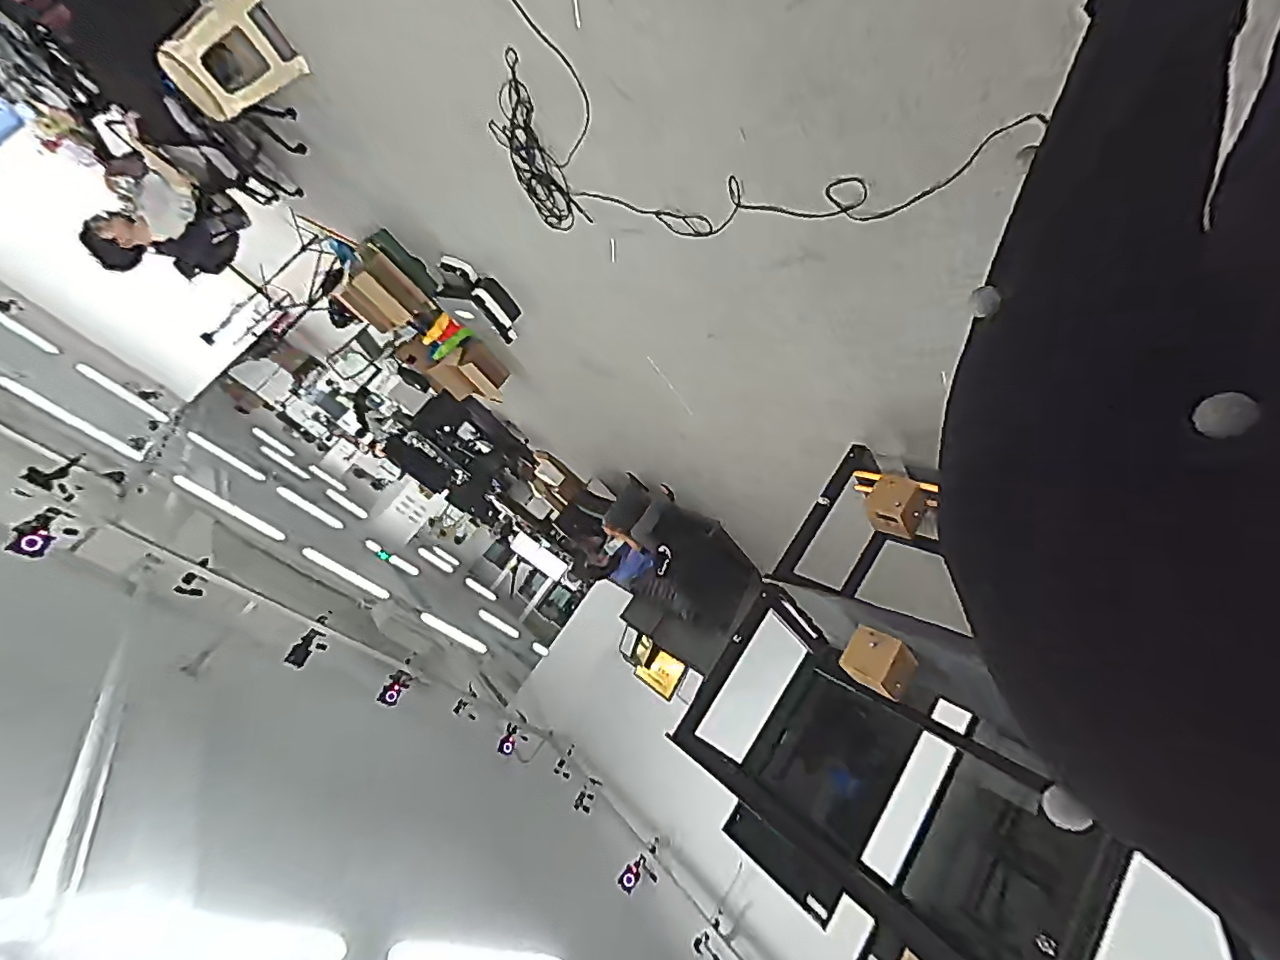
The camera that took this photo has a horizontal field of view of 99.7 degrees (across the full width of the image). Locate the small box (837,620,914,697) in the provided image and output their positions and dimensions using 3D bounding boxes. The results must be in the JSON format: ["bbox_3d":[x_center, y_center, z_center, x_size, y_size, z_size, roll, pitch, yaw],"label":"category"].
[{"bbox_3d":[0.839,0.628,1.915,0.168,0.176,0.179,16,156,52],"label":"small box"}]
